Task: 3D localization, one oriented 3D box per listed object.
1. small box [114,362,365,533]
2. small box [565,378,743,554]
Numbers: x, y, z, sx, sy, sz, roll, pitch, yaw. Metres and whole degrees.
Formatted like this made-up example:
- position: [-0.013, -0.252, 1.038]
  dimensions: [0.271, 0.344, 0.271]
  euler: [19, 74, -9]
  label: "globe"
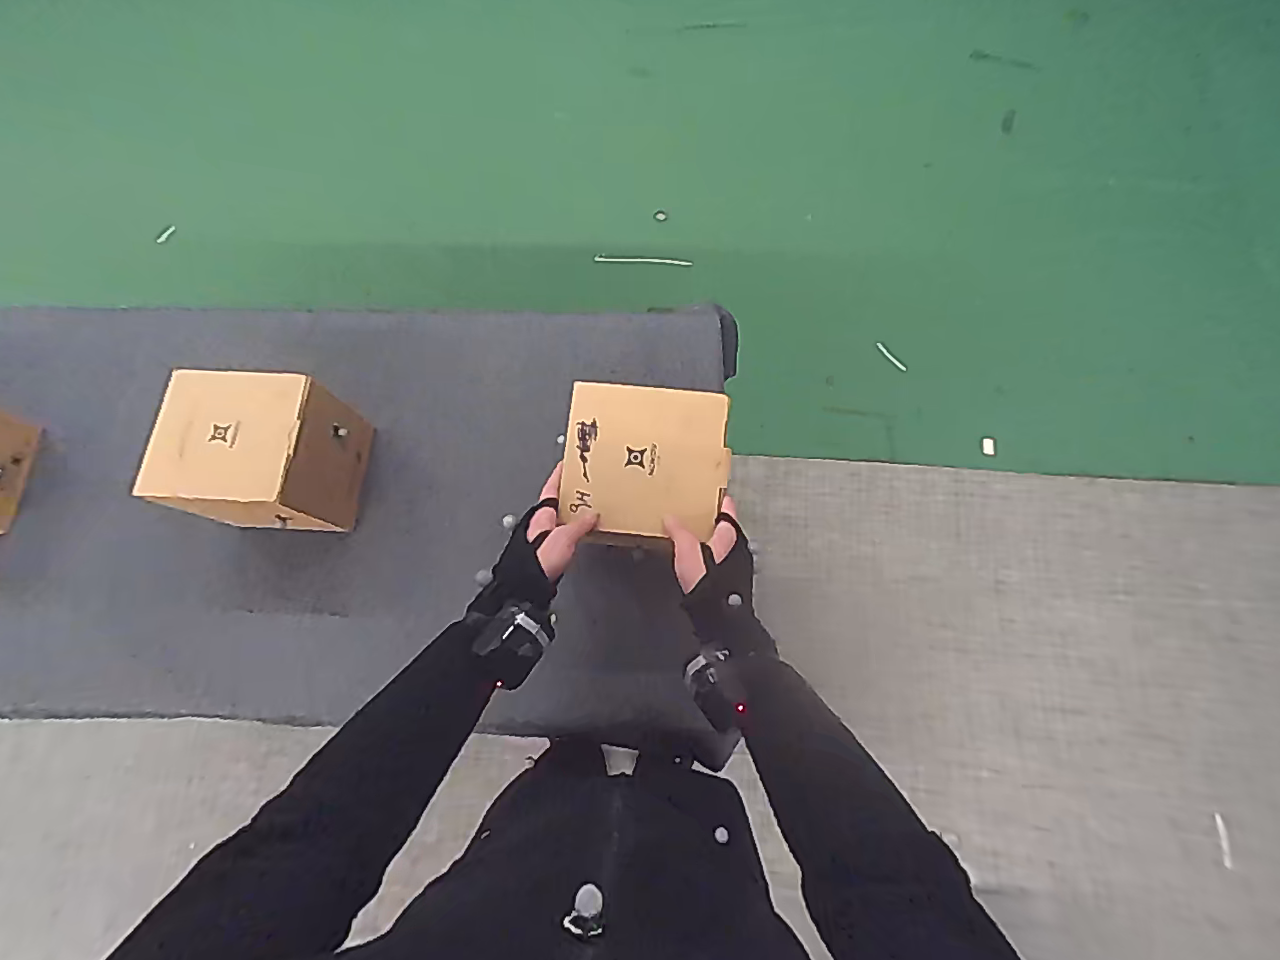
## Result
- position: [-0.483, -0.032, 0.687]
  dimensions: [0.179, 0.176, 0.168]
  euler: [2, 71, 1]
  label: "small box"
- position: [0.015, -0.006, 0.650]
  dimensions: [0.179, 0.176, 0.168]
  euler: [7, 77, 0]
  label: "small box"
